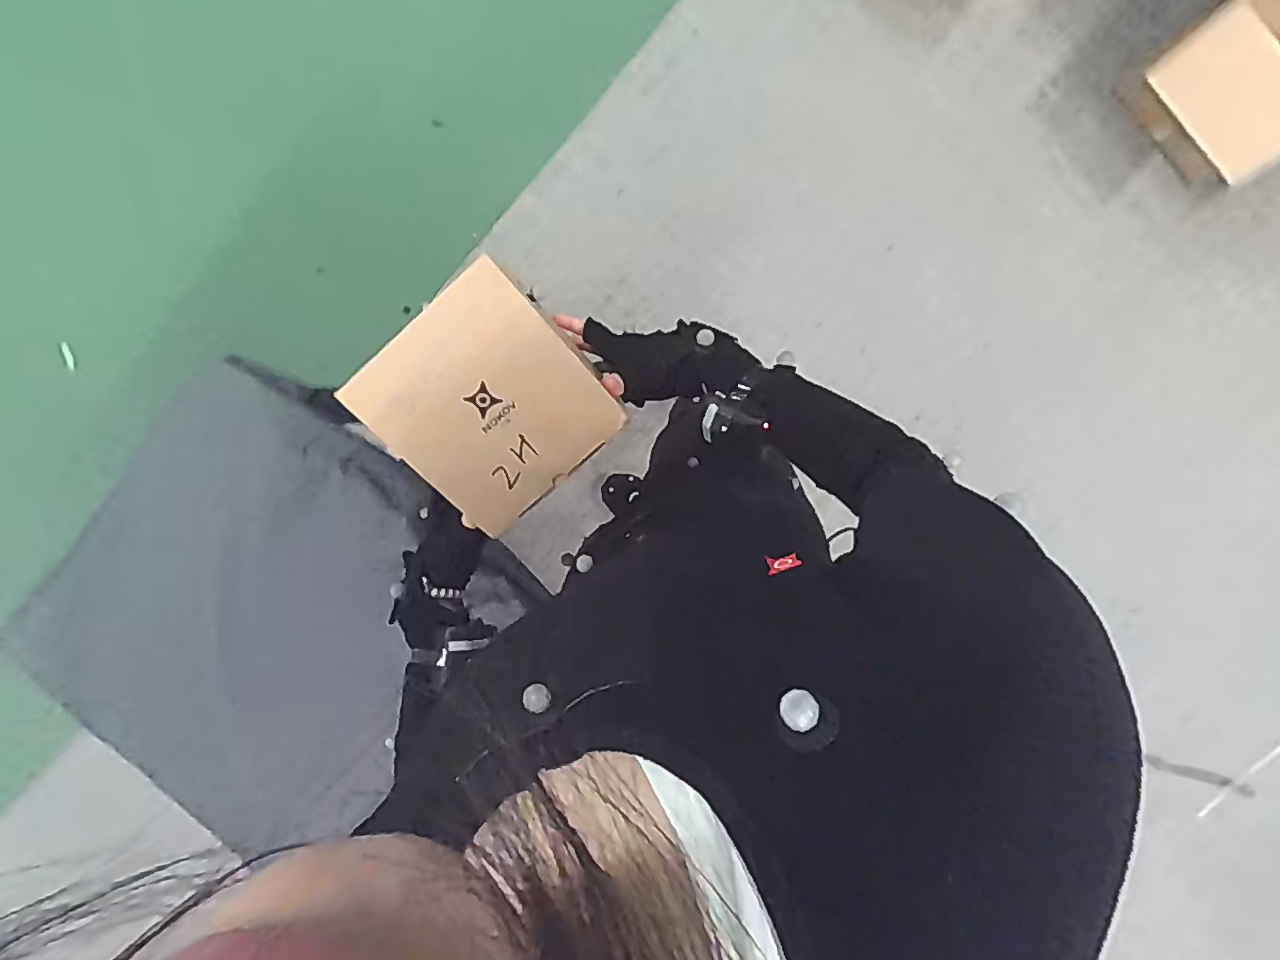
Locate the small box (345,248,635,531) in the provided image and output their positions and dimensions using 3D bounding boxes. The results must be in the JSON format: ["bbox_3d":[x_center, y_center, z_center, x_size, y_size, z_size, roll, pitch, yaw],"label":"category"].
[{"bbox_3d":[-0.129,-0.089,0.516,0.168,0.176,0.179,-38,109,6],"label":"small box"}]

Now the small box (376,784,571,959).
[{"bbox_3d":[-0.214,0.574,0.751,0.168,0.176,0.179,43,98,-2],"label":"small box"}]
